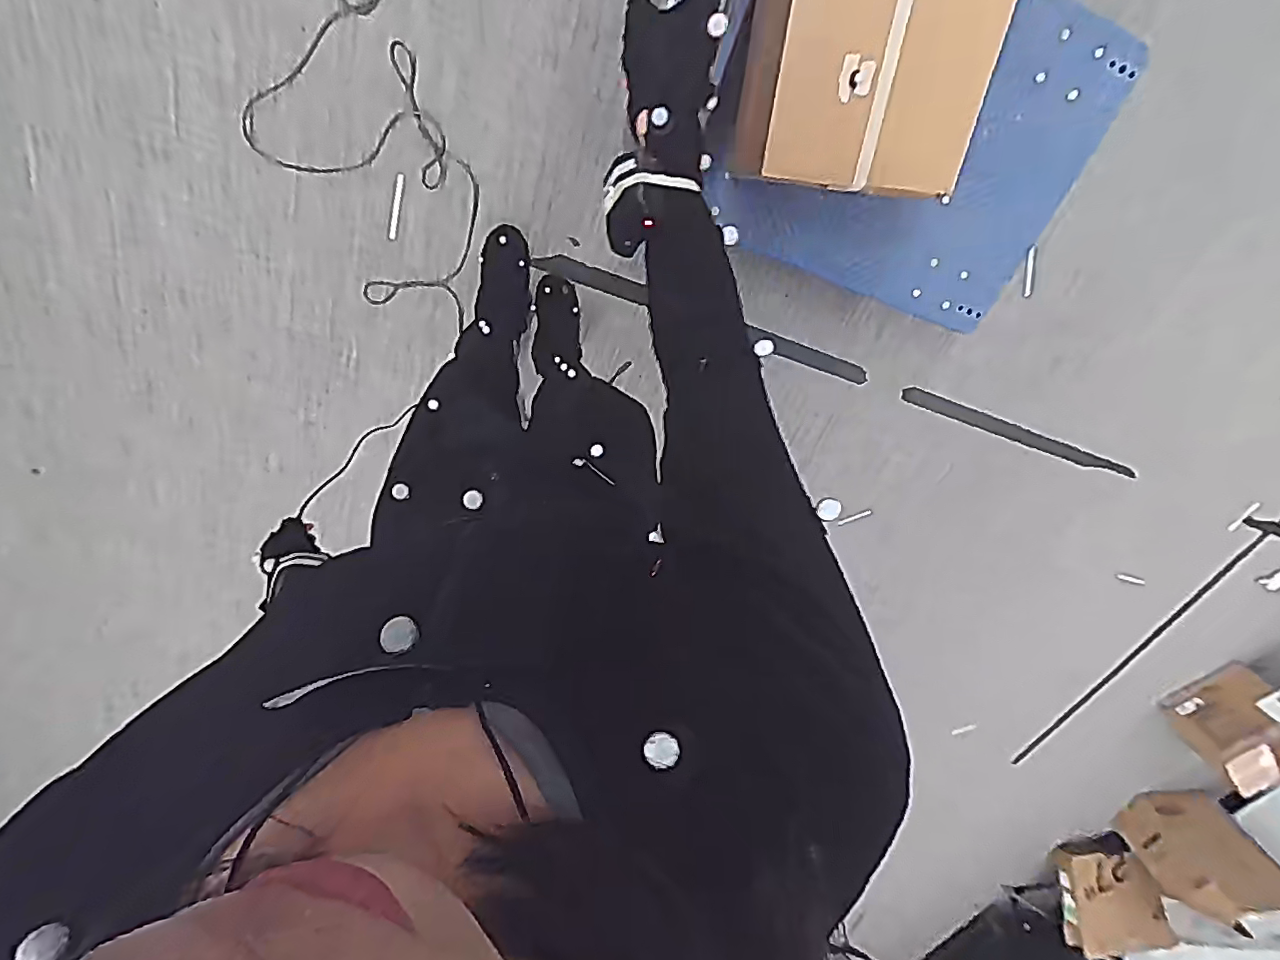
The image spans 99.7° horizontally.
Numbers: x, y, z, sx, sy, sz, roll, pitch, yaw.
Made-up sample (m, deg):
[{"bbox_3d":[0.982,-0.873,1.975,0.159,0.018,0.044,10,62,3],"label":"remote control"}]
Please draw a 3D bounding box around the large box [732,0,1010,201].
[{"bbox_3d":[0.356,-0.706,0.897,0.320,0.320,0.408,5,119,-3],"label":"large box"}]
